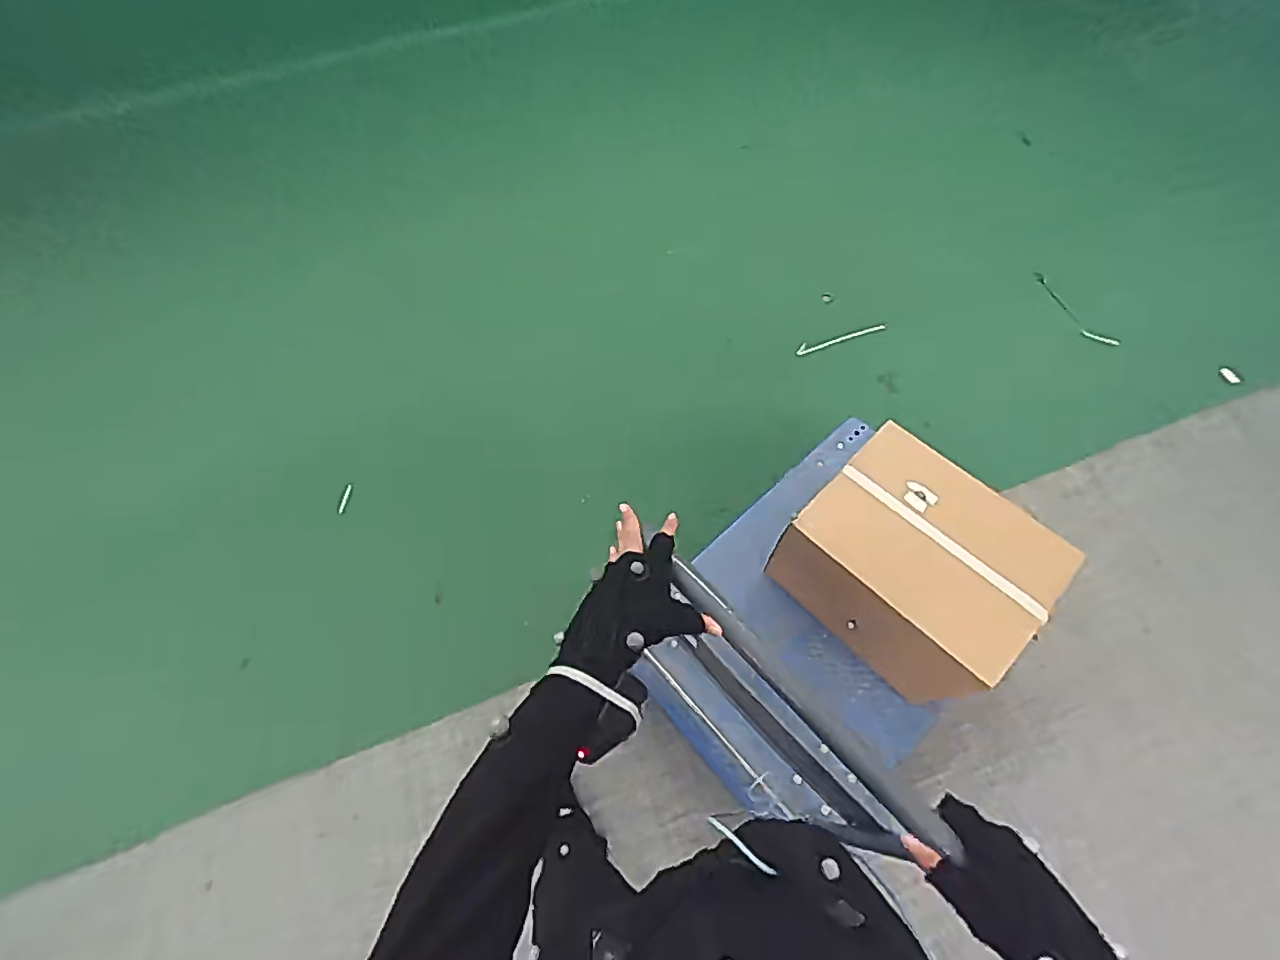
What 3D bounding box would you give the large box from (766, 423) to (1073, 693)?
[{"bbox_3d":[0.527,0.167,1.107,0.408,0.320,0.320,41,71,21],"label":"large box"}]
